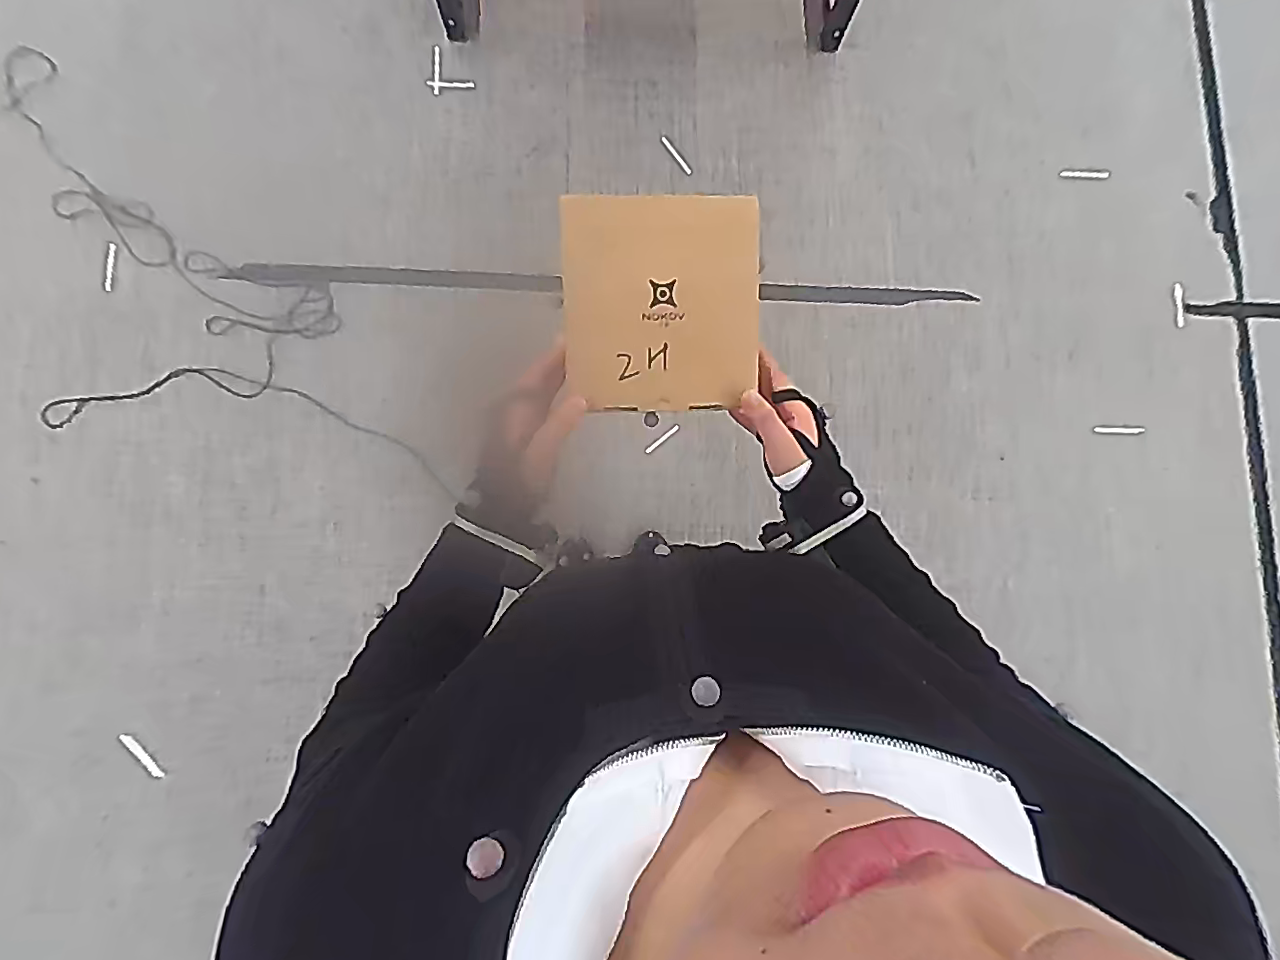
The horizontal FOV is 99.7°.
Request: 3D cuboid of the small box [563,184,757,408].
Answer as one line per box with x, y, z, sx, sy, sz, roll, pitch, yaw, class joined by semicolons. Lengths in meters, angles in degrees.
0.013;-0.164;0.533;0.168;0.176;0.179;-2;95;-3;small box
